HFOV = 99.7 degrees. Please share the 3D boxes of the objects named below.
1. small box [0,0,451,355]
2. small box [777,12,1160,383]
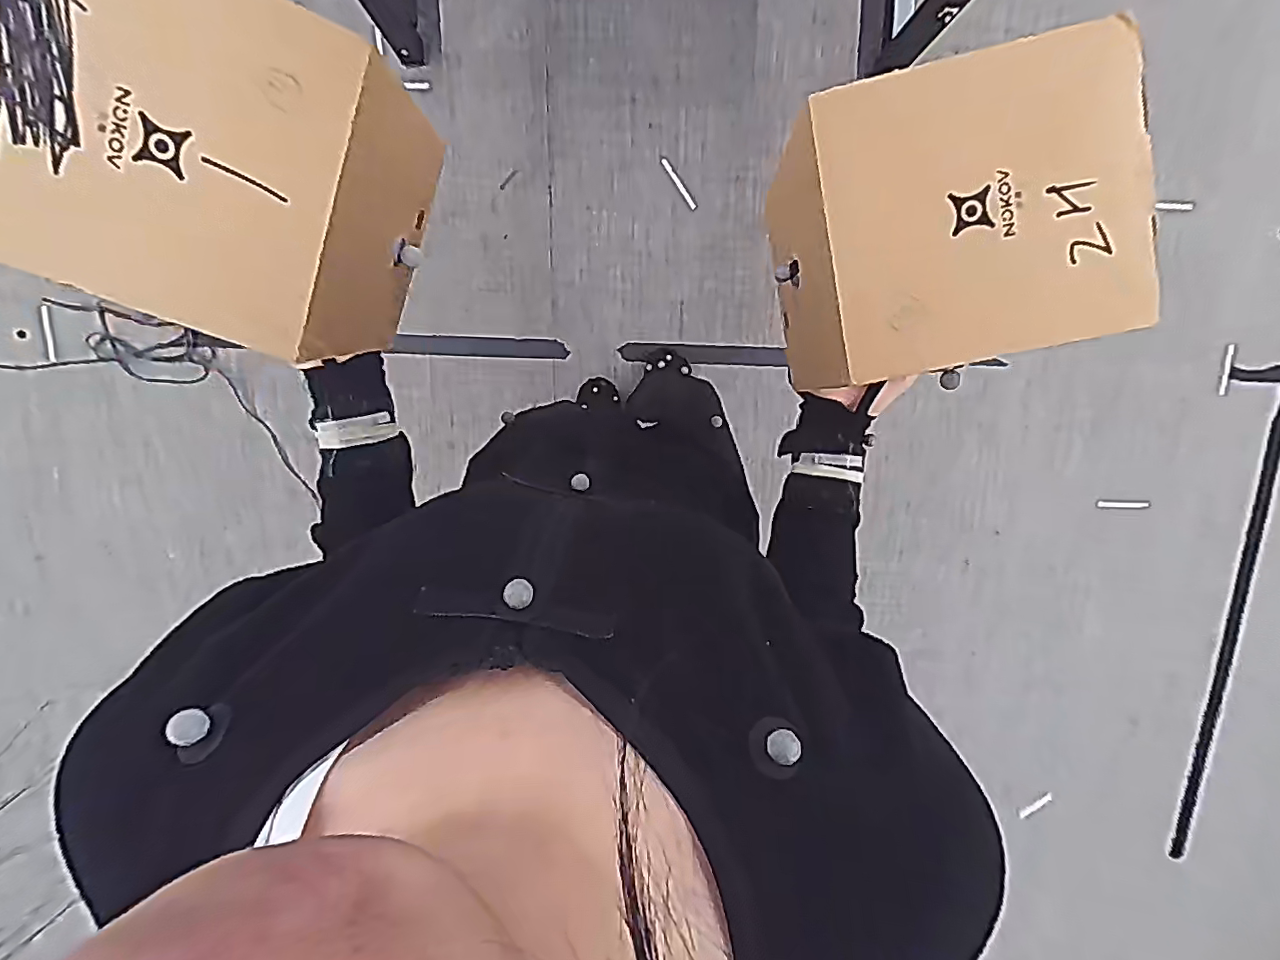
[{"bbox_3d":[-0.240,-0.189,0.335,0.179,0.176,0.168,20,104,-13],"label":"small box"},{"bbox_3d":[0.201,-0.166,0.384,0.179,0.176,0.168,-10,98,6],"label":"small box"}]
